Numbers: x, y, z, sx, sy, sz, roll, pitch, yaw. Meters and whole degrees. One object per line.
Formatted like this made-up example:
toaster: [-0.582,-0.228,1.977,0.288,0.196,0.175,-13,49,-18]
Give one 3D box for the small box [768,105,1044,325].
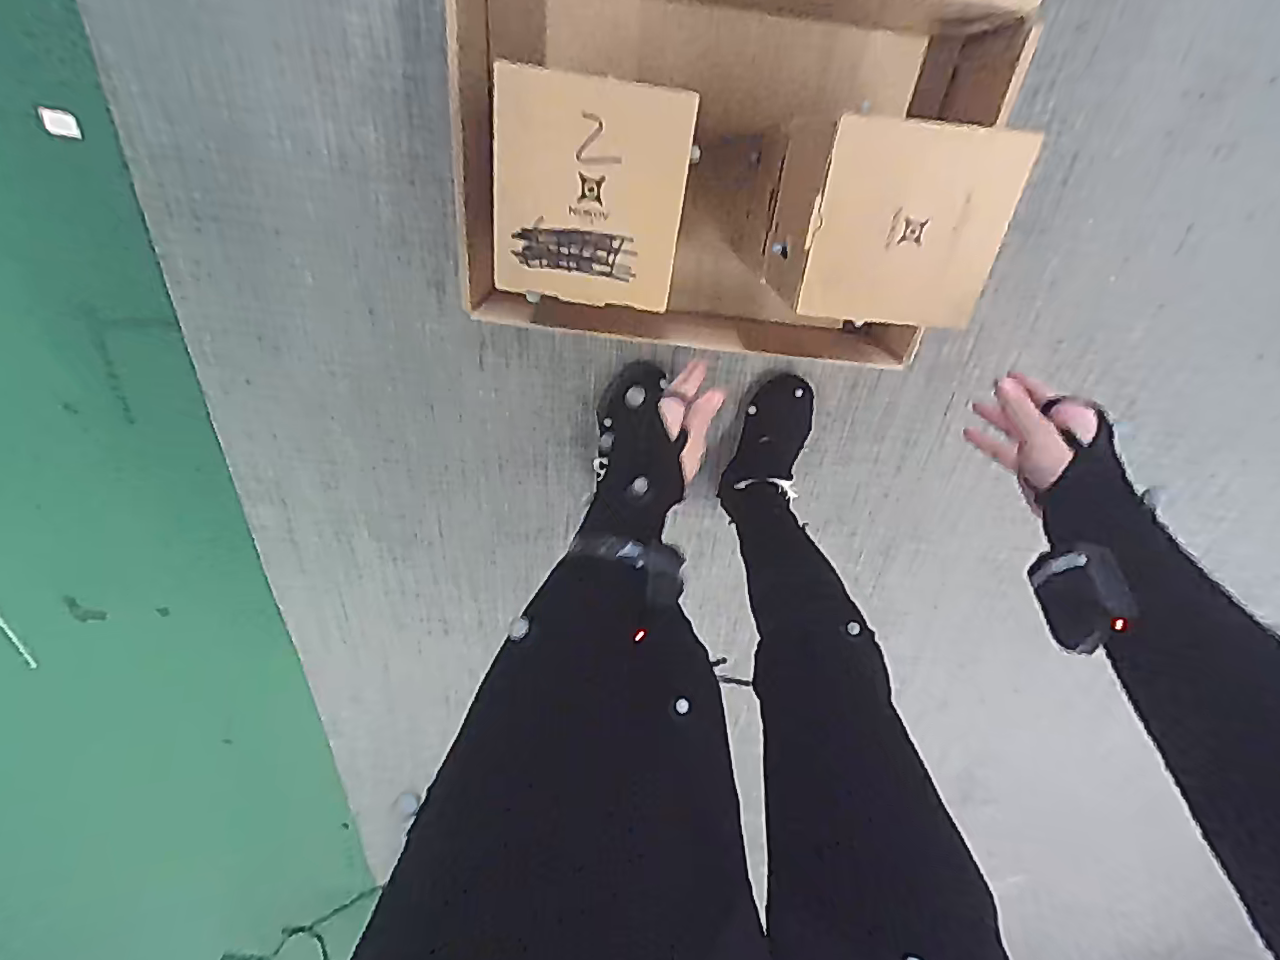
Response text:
small box: [0.241,-0.270,0.551,0.179,0.176,0.168,4,122,-3]
